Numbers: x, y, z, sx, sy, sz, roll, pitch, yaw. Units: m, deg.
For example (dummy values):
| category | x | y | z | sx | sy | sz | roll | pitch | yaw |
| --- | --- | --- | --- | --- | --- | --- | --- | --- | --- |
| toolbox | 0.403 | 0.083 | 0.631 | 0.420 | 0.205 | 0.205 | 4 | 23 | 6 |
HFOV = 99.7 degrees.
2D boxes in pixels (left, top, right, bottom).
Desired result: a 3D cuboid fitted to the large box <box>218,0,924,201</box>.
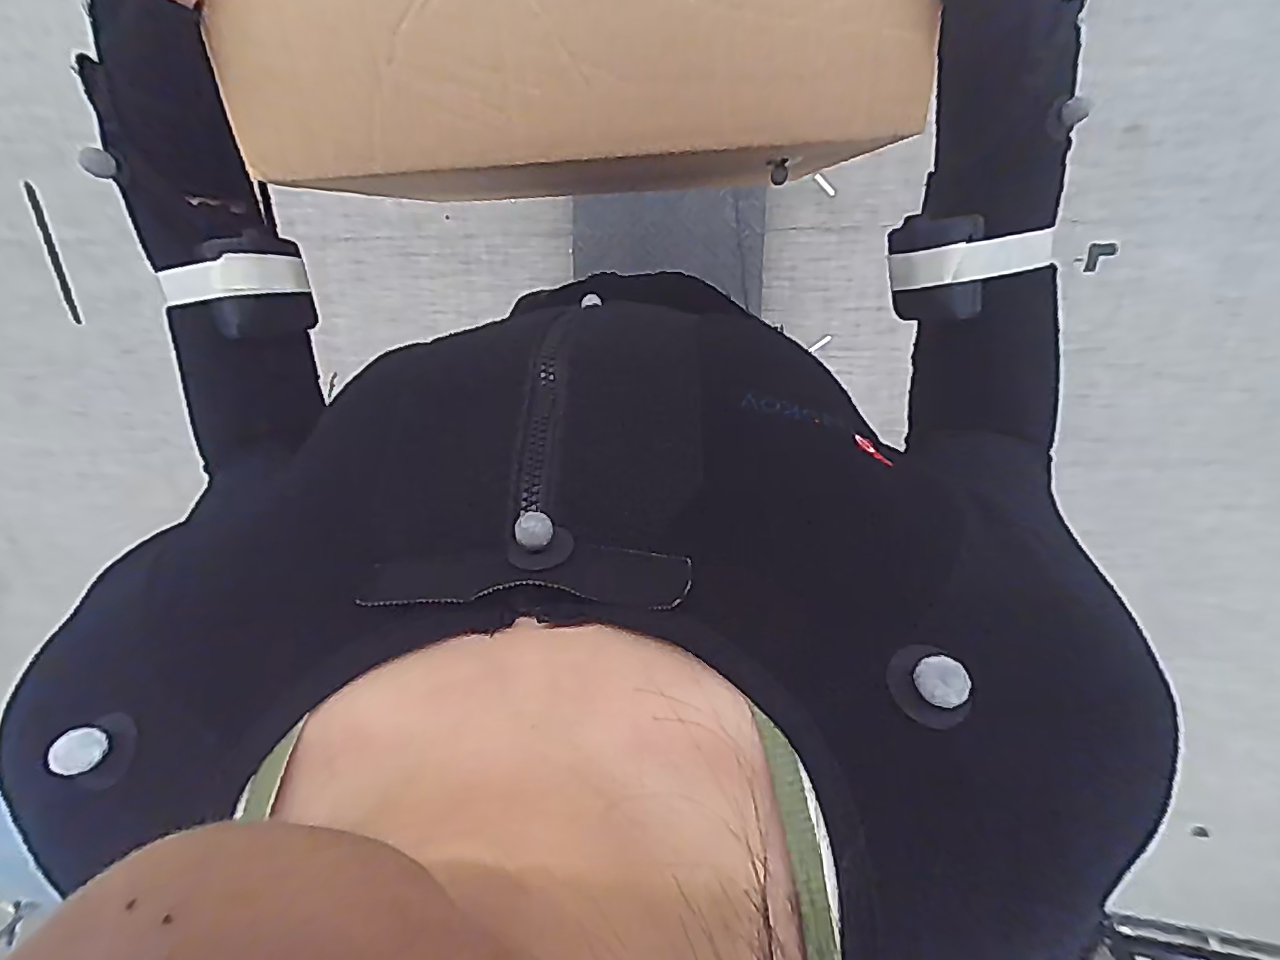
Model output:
| category | x | y | z | sx | sy | sz | roll | pitch | yaw |
| --- | --- | --- | --- | --- | --- | --- | --- | --- | --- |
| large box | -0.040 | -0.401 | 0.407 | 0.408 | 0.320 | 0.320 | -3 | 114 | 3 |
